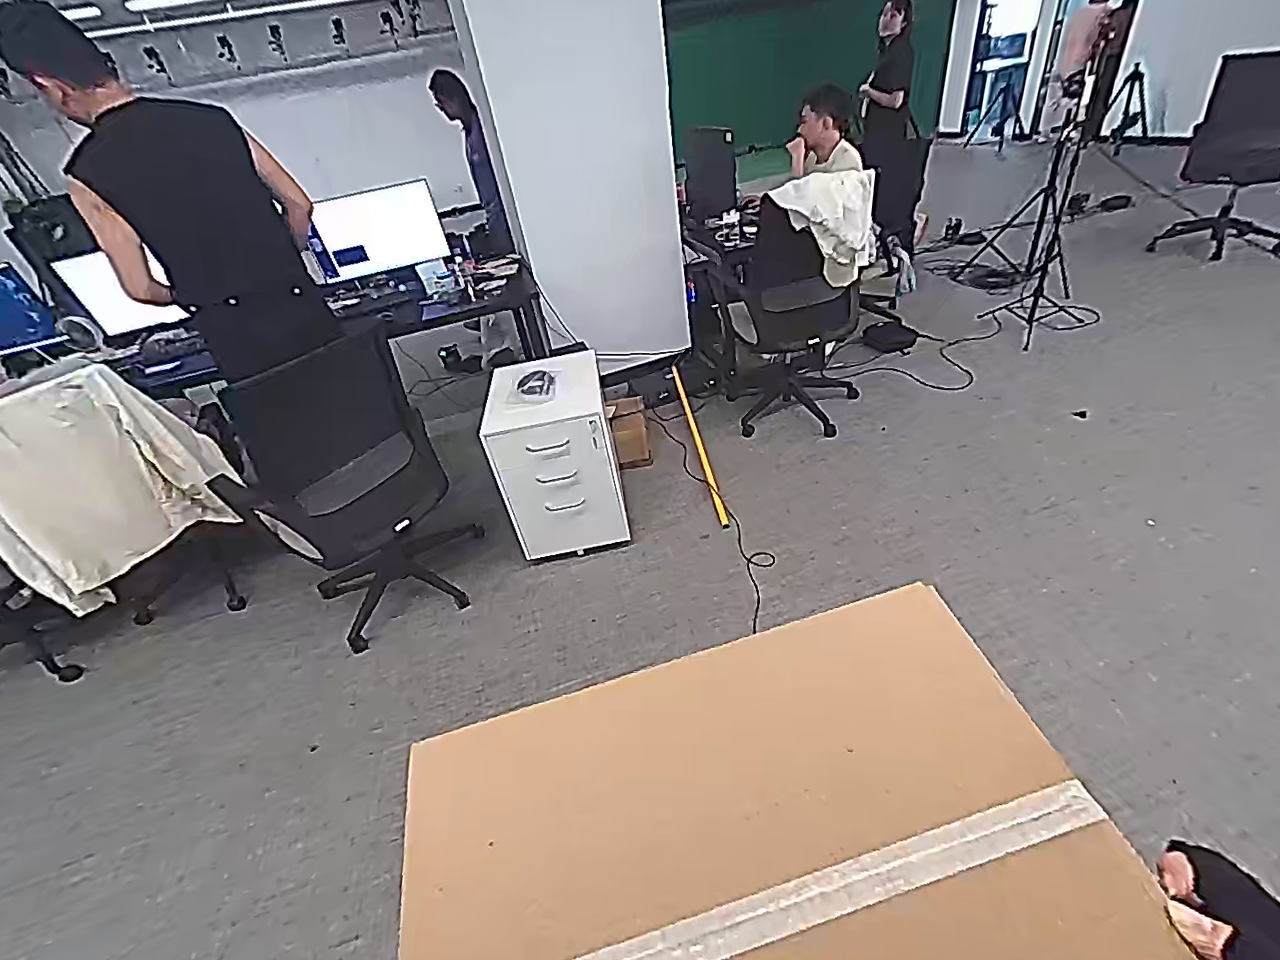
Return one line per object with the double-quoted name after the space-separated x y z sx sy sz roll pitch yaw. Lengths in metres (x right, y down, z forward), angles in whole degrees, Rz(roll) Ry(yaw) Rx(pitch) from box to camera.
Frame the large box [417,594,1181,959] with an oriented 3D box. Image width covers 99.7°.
0.090 0.349 0.418 0.408 0.320 0.320 -17 46 -3 "large box"
